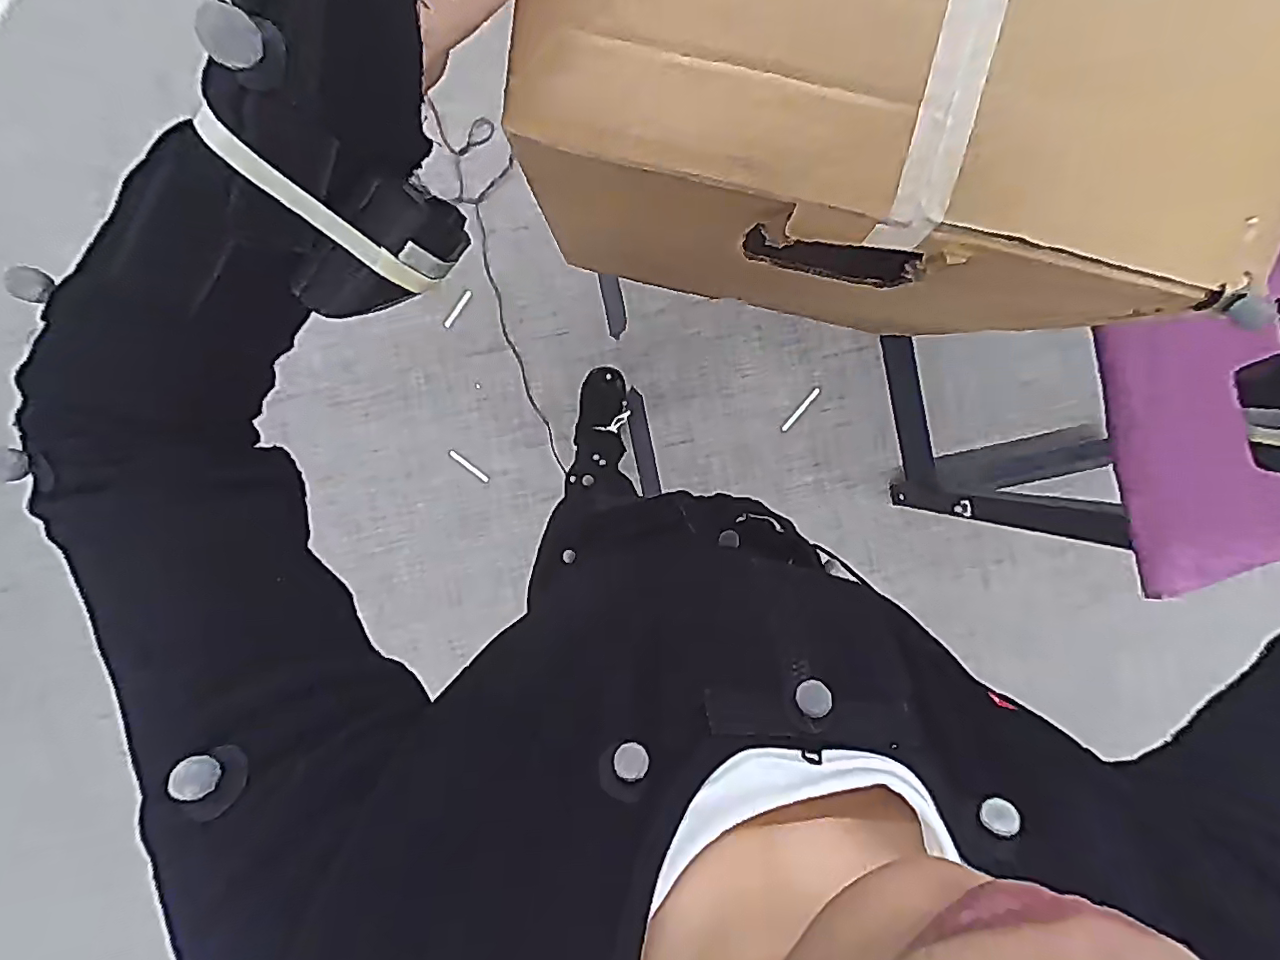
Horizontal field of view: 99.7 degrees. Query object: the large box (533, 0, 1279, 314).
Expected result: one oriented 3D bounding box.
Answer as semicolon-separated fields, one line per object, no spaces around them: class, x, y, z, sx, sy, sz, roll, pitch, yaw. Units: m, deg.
large box;0.134;-0.334;0.309;0.320;0.320;0.408;10;103;-4
